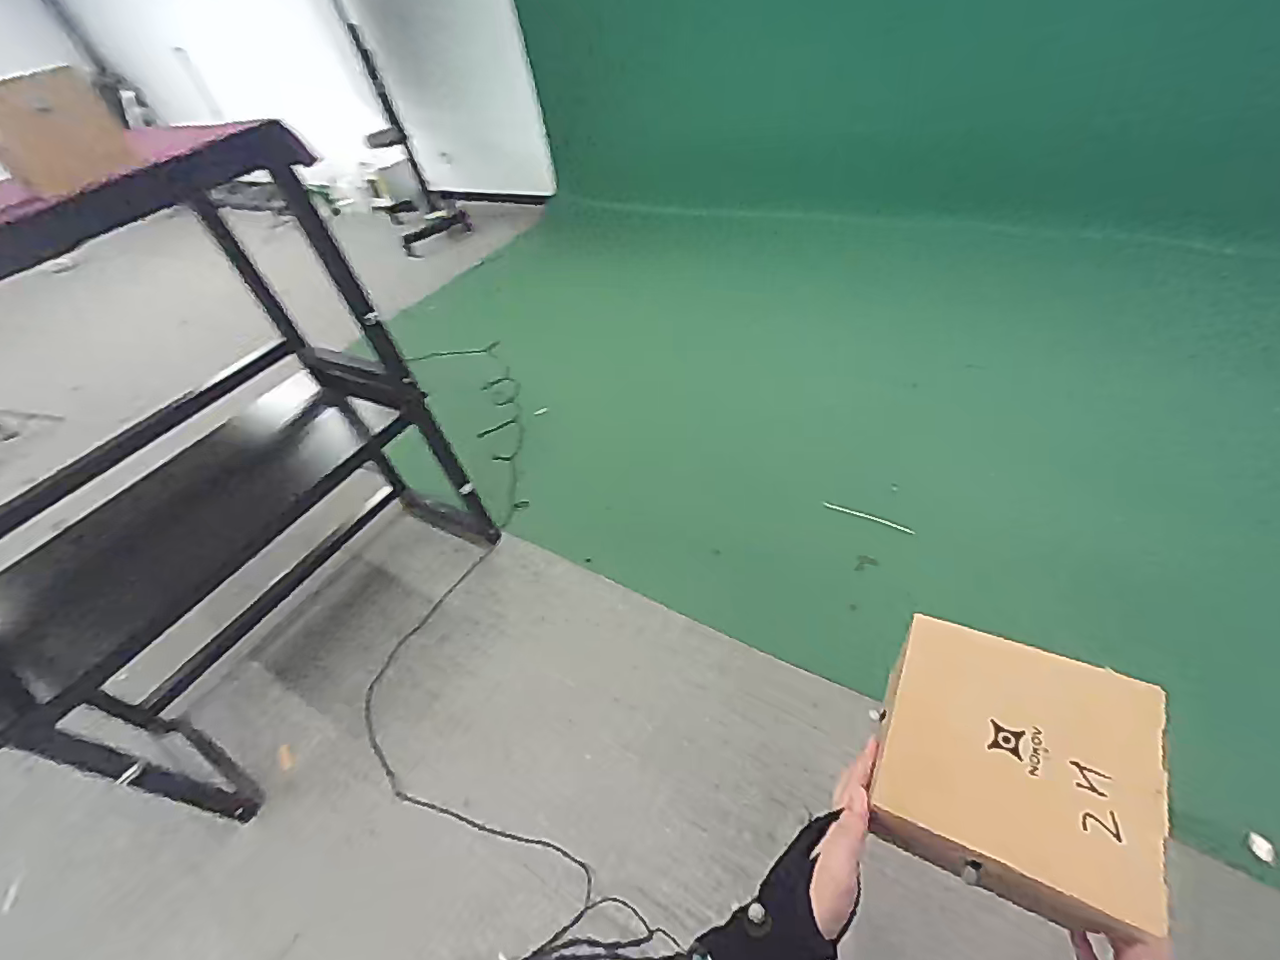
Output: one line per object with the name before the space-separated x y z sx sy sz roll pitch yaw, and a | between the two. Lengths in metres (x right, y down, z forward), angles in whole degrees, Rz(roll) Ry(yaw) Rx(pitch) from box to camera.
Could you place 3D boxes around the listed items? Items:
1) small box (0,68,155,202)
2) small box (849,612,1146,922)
small box | -1.073 -0.634 1.000 0.168 0.176 0.179 21 54 27
small box | 0.293 0.248 0.474 0.179 0.176 0.168 15 58 25
